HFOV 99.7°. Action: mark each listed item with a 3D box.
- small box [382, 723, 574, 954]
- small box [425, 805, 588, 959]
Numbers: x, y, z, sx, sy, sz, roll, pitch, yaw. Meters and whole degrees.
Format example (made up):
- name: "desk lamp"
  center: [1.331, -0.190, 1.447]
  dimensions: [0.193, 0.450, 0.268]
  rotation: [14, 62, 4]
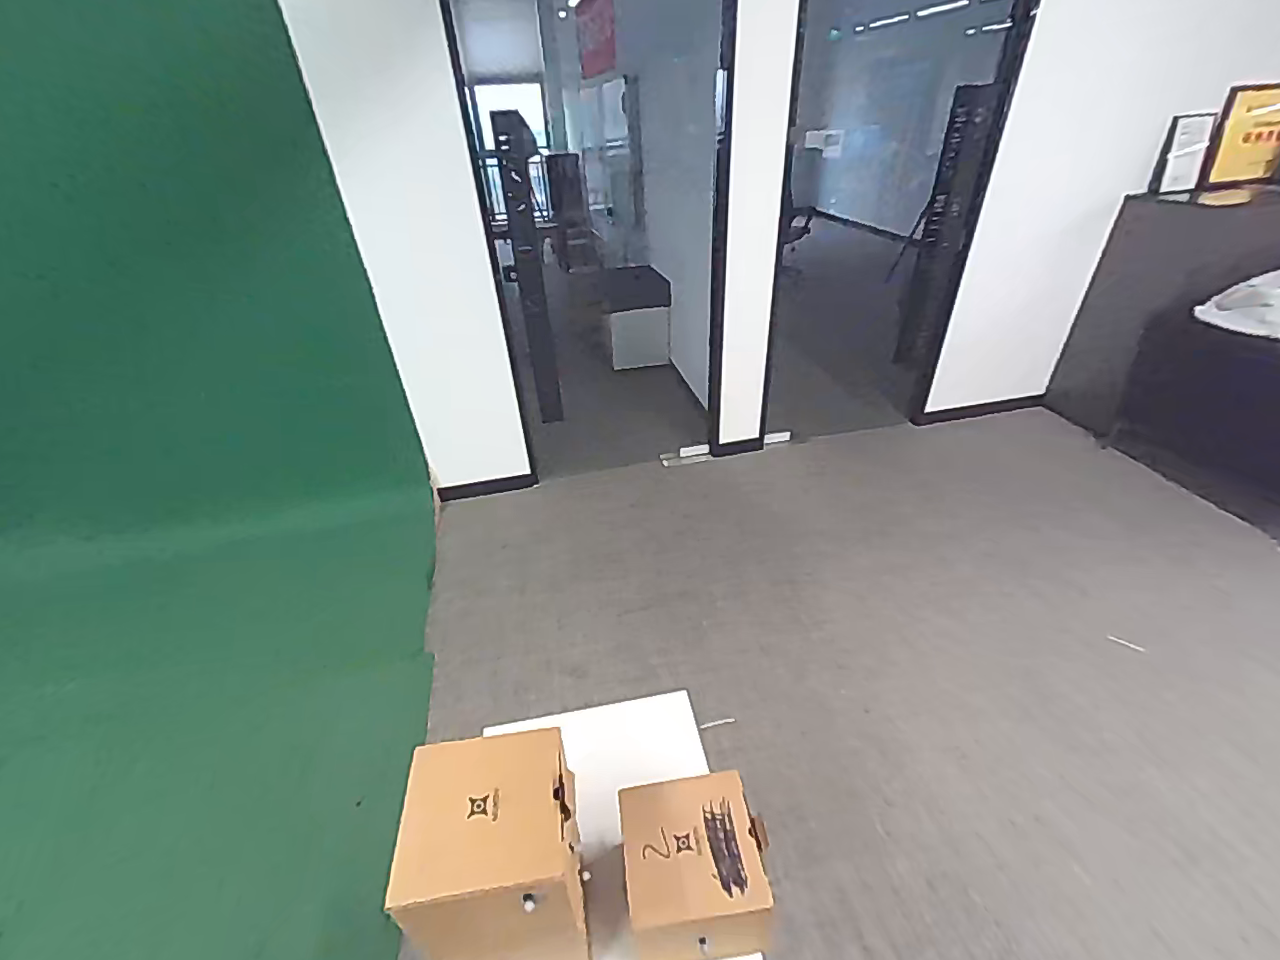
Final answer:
- name: "small box"
  center: [-0.176, 0.422, 0.642]
  dimensions: [0.179, 0.176, 0.168]
  rotation: [-5, 35, -7]
- name: "small box"
  center: [-0.171, 0.557, 0.733]
  dimensions: [0.179, 0.176, 0.168]
  rotation: [-7, 35, -8]
